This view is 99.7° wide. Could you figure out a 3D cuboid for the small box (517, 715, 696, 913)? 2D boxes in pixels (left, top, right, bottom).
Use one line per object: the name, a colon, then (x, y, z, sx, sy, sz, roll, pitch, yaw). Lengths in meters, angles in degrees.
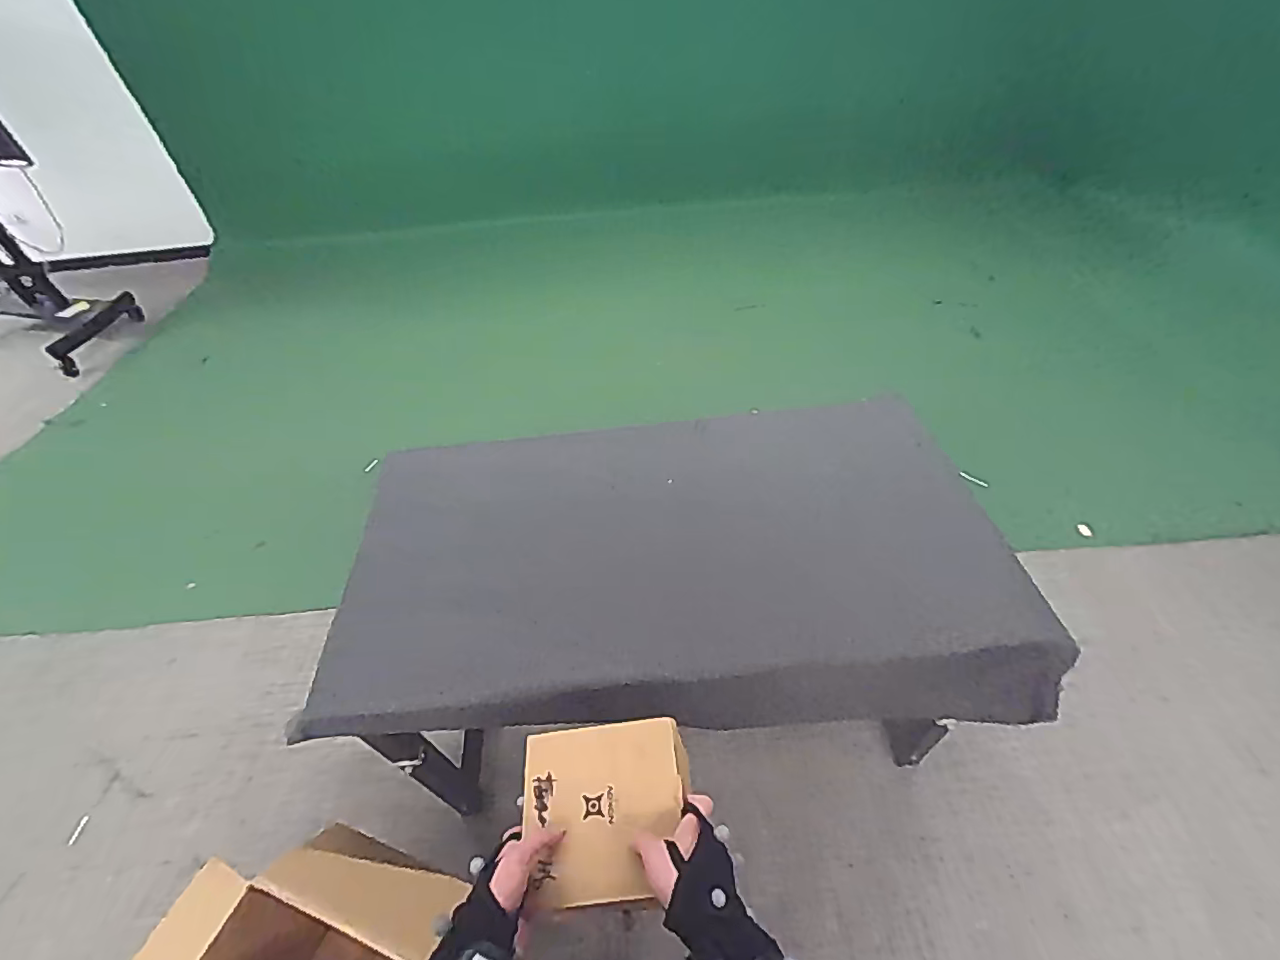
small box: (-0.030, 0.392, 0.631, 0.179, 0.176, 0.168, -9, 49, 3)
